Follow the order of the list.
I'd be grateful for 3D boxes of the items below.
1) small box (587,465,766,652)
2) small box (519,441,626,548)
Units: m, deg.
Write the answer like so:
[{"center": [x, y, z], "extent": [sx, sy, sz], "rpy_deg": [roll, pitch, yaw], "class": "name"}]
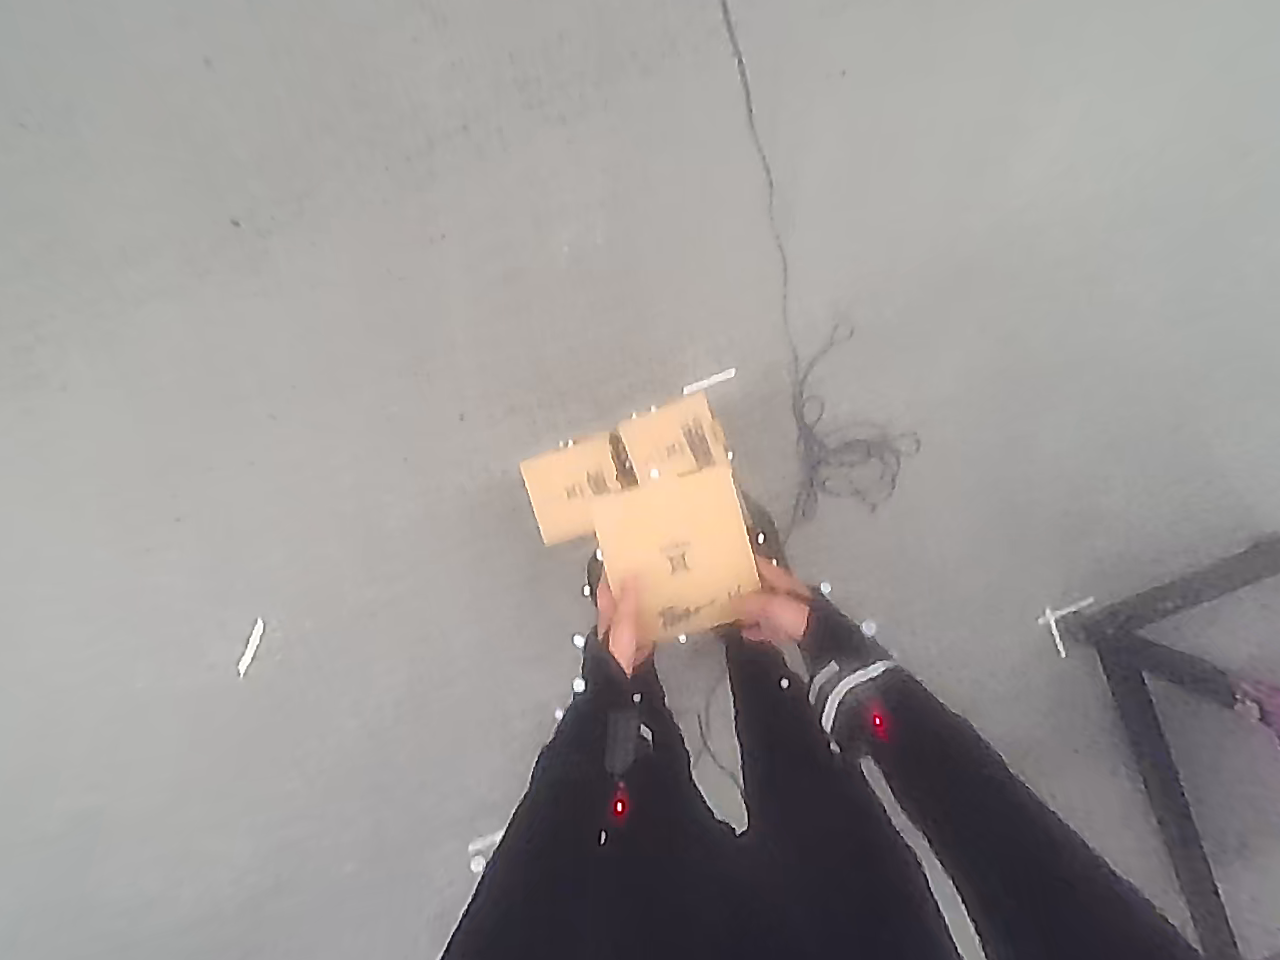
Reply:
[{"center": [0.040, 0.089, 0.671], "extent": [0.168, 0.176, 0.179], "rpy_deg": [-15, 88, 1], "class": "small box"}, {"center": [-0.120, 0.021, 1.084], "extent": [0.179, 0.176, 0.168], "rpy_deg": [-18, 94, 3], "class": "small box"}]
